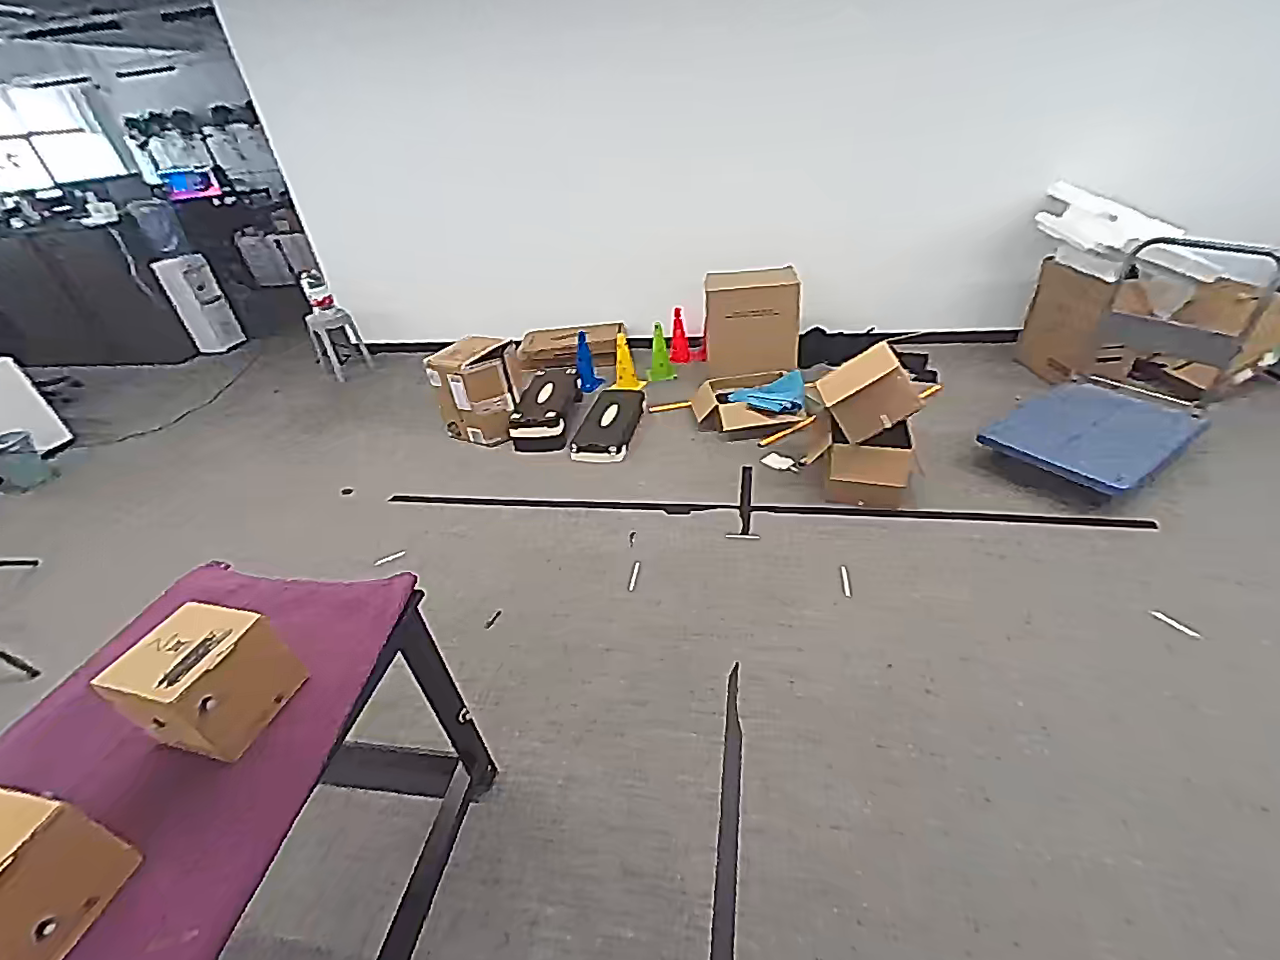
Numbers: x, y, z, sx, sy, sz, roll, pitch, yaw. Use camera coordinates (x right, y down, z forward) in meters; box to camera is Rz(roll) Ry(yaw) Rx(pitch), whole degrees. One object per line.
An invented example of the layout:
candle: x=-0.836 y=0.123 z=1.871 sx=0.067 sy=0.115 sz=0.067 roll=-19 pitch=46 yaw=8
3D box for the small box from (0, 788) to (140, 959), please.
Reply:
small box: x=-0.795 y=0.506 z=0.662 sx=0.179 sy=0.176 sz=0.168 roll=3 pitch=36 yaw=12
